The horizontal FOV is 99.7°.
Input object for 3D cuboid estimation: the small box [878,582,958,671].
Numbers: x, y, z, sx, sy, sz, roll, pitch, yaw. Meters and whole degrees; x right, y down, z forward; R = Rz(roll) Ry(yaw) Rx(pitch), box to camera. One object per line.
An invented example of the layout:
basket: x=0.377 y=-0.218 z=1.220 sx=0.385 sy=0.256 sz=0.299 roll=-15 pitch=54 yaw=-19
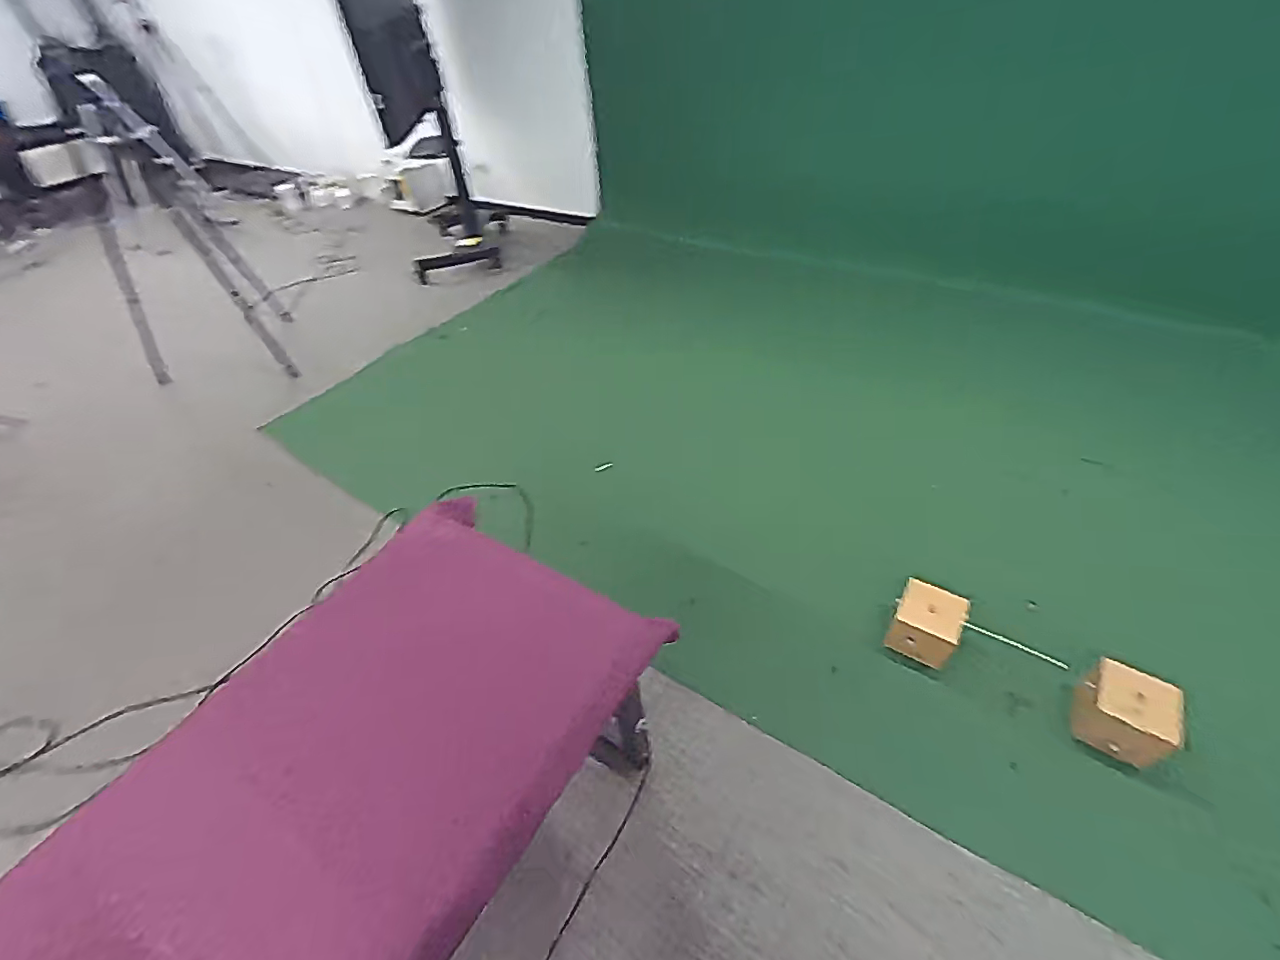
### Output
small box: x=0.864 y=0.461 z=1.691 sx=0.168 sy=0.176 sz=0.179 roll=22 pitch=49 yaw=26

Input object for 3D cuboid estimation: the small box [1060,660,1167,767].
small box: x=1.280 y=0.636 z=1.470 sx=0.168 sy=0.176 sz=0.179 roll=23 pitch=50 yaw=26
